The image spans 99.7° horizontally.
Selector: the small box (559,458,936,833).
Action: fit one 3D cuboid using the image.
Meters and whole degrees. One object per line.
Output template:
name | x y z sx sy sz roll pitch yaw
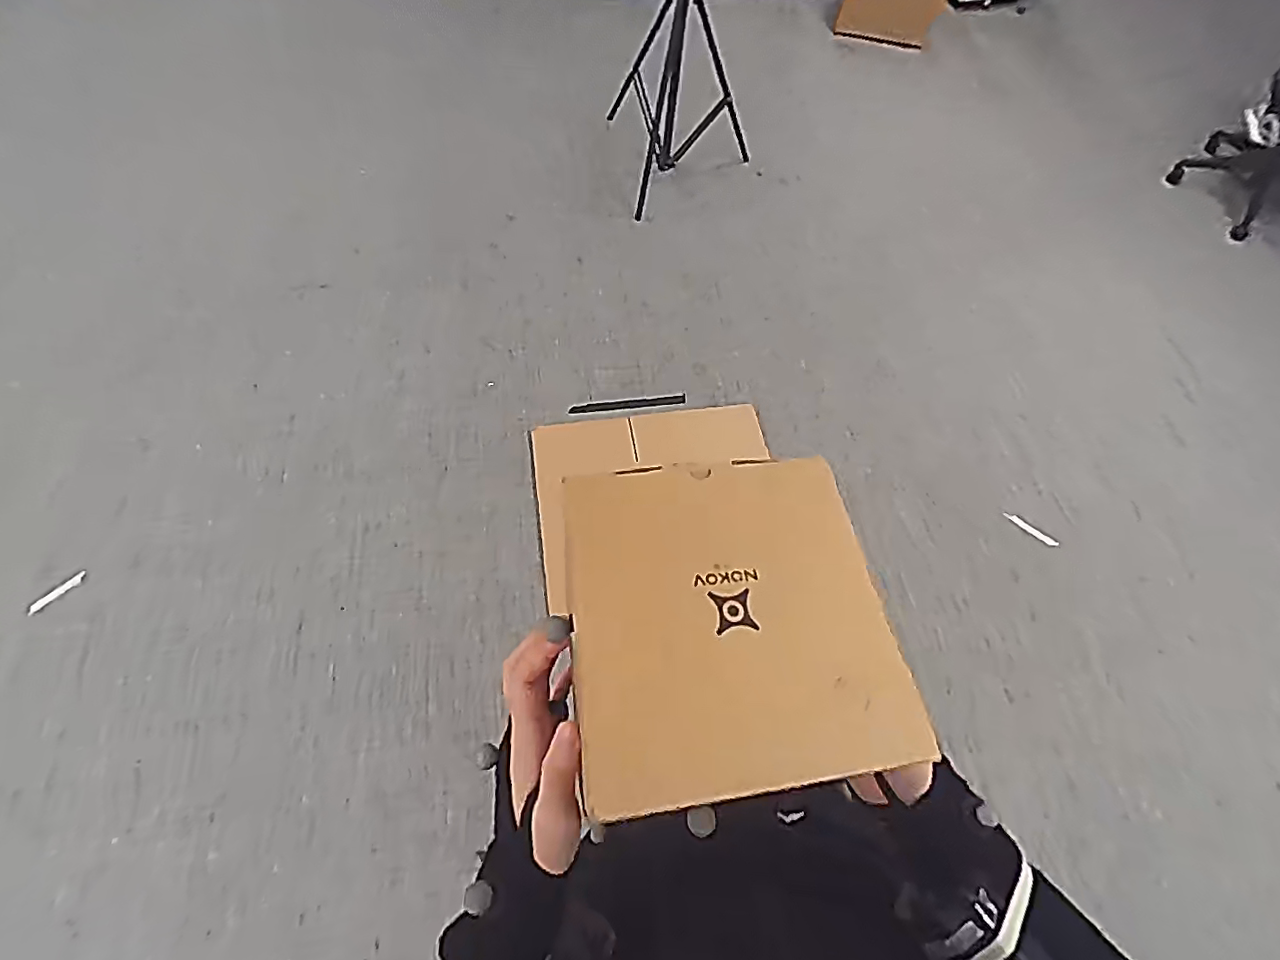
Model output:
small box | 0.040 0.108 0.348 0.168 0.176 0.179 -5 58 -9
